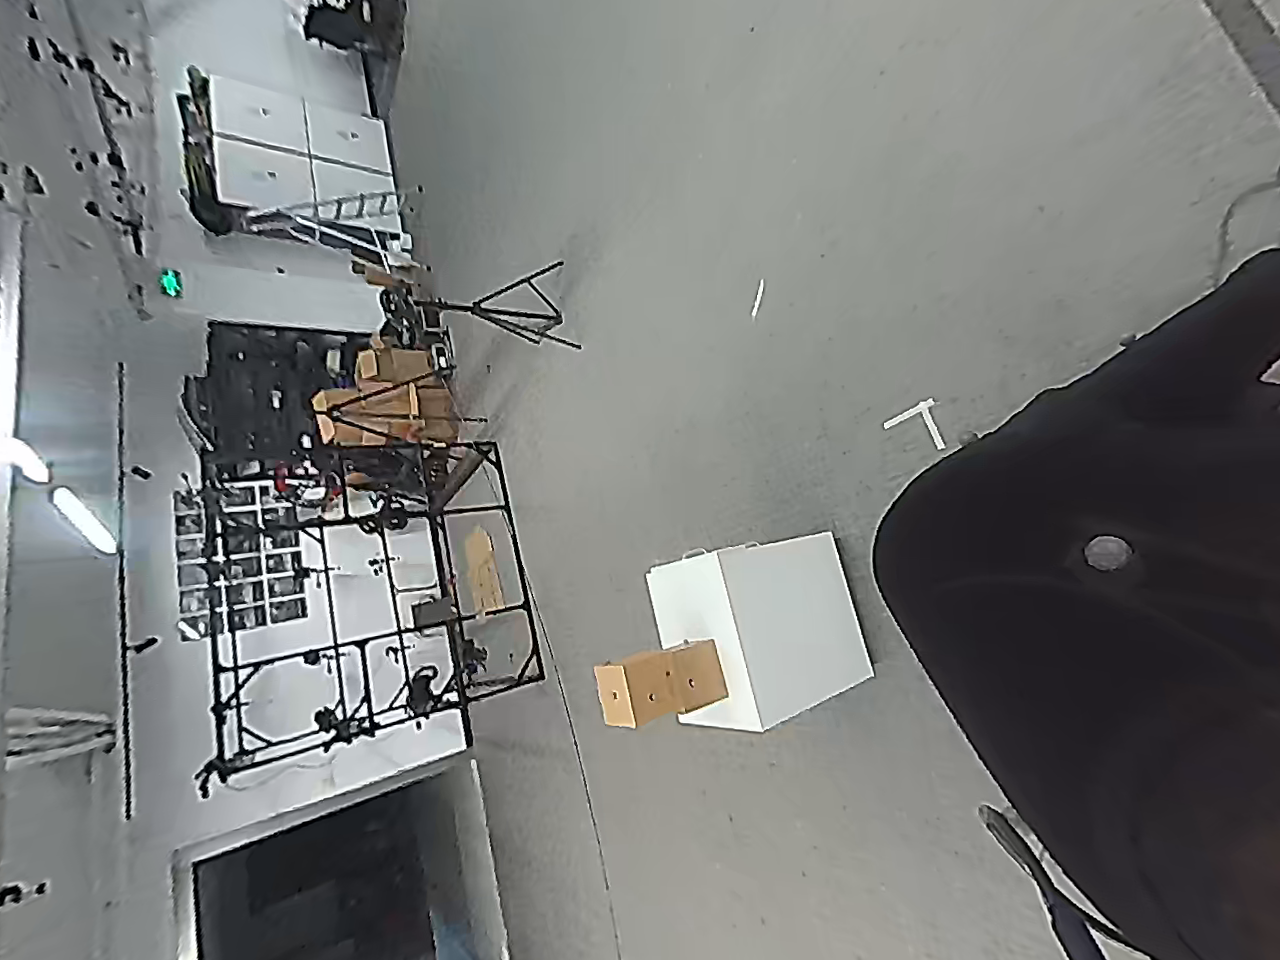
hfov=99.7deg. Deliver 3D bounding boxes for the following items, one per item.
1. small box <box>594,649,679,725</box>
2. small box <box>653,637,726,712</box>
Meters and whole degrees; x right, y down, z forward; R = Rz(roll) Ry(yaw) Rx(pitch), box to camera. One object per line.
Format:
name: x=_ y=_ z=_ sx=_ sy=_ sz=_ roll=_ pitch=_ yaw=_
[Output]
small box: x=-0.005 y=0.592 z=1.560 sx=0.179 sy=0.176 sz=0.168 roll=-30 pitch=70 yaw=53
small box: x=0.137 y=0.588 z=1.641 sx=0.168 sy=0.176 sz=0.179 roll=-31 pitch=68 yaw=52
